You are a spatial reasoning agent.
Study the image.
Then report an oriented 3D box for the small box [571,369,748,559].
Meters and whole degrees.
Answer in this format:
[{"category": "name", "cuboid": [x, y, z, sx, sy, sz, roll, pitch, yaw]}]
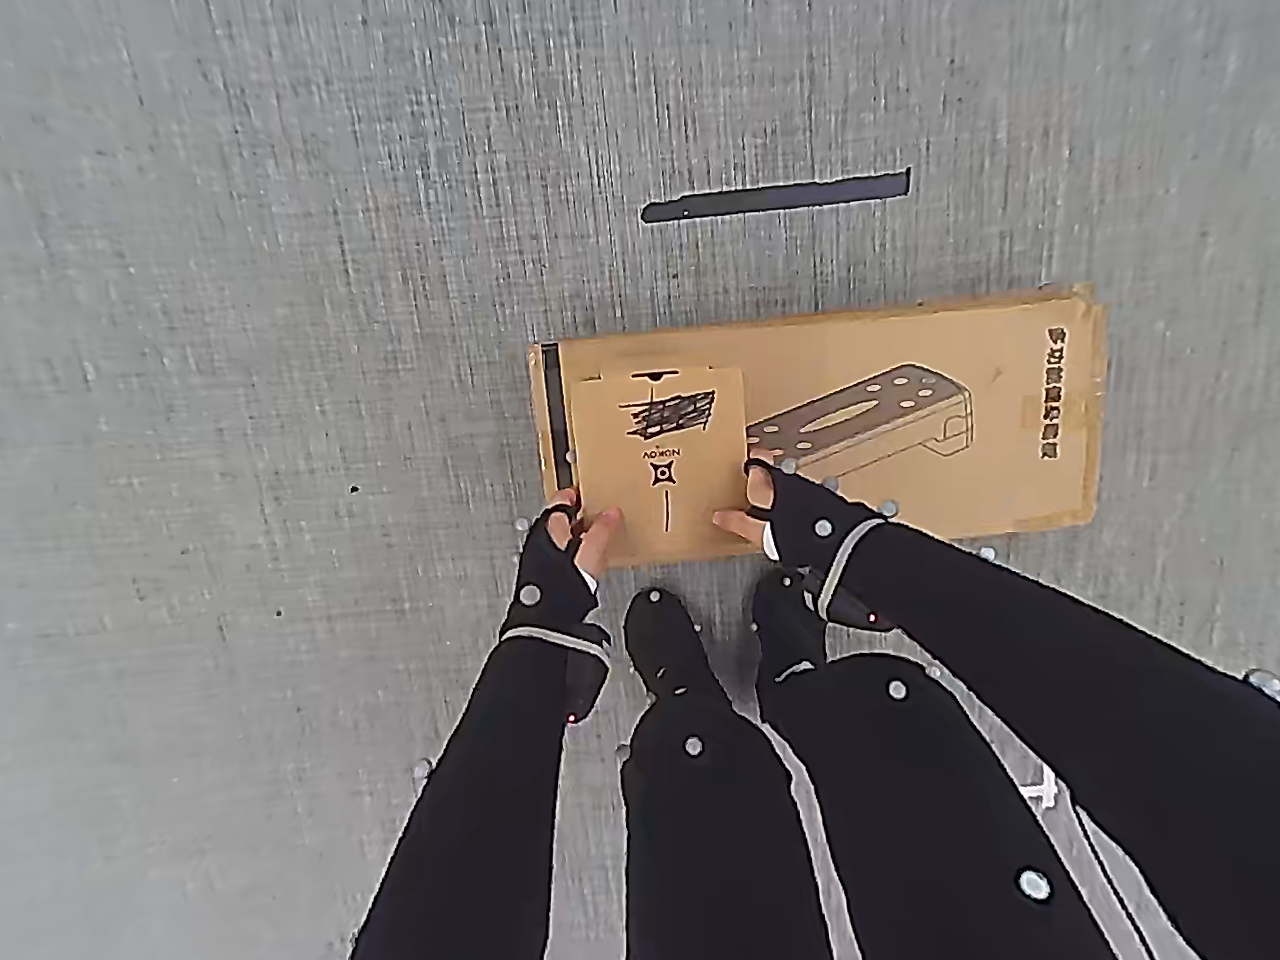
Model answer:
[{"category": "small box", "cuboid": [0.016, -0.023, 0.603, 0.168, 0.176, 0.179, -6, 98, -2]}]
